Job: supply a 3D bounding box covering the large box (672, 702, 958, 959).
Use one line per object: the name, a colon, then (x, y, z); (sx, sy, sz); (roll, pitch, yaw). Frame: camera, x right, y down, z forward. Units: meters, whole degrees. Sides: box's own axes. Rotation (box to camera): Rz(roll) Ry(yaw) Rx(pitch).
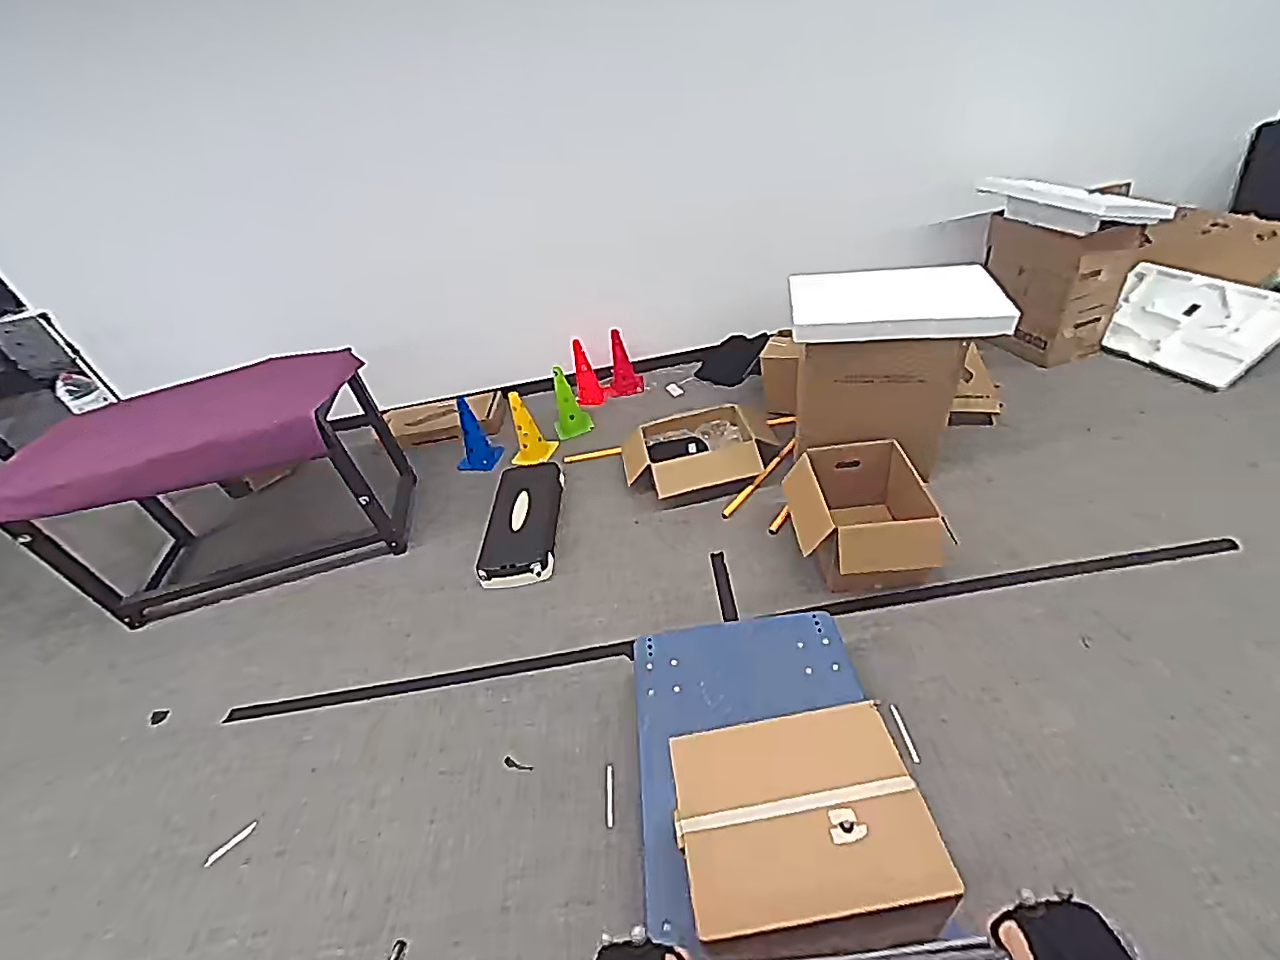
large box: (0.294, 0.679, 1.024); (0.408, 0.320, 0.320); (-11, 38, 0)
